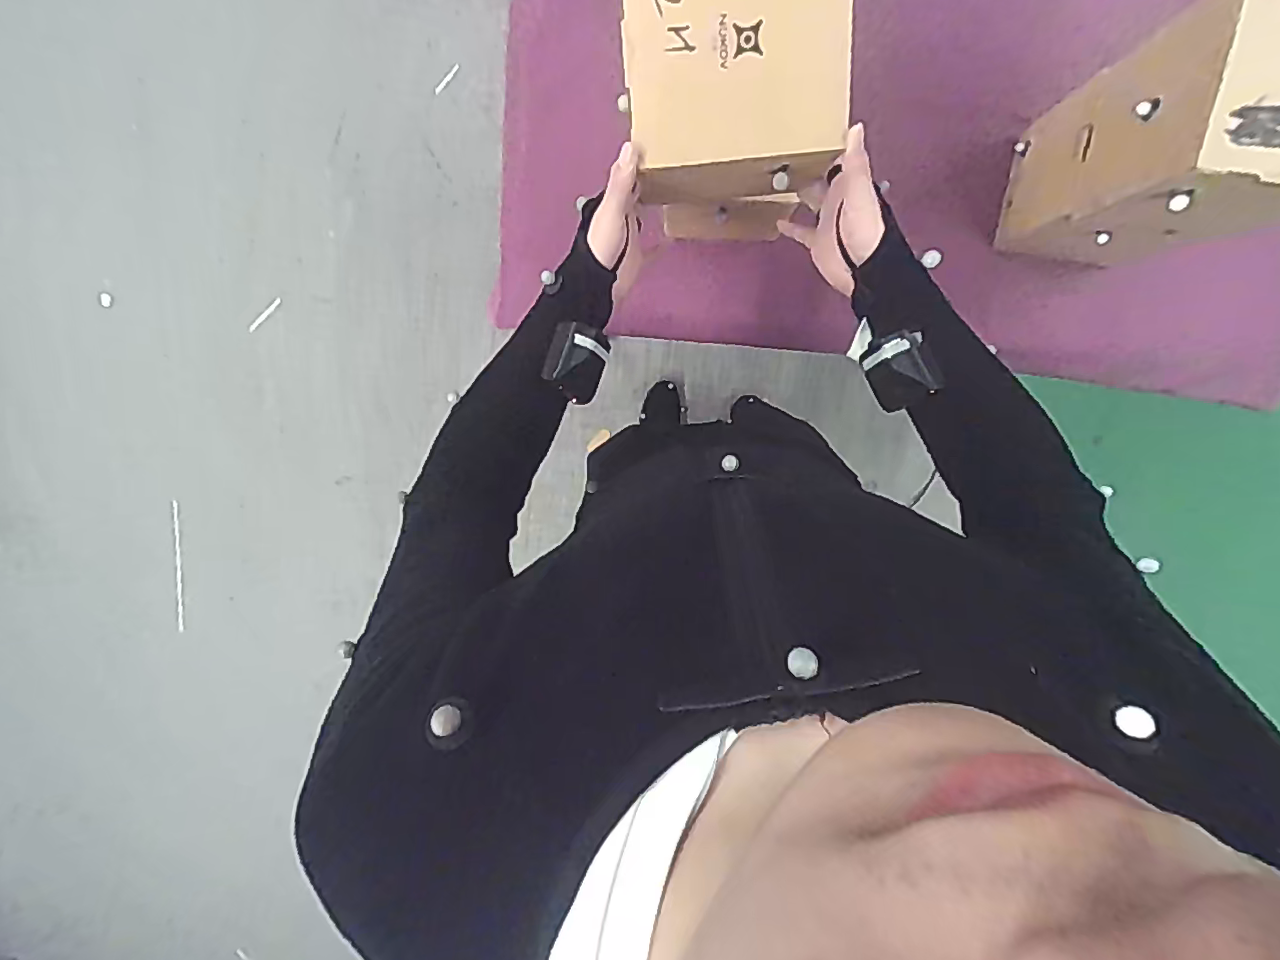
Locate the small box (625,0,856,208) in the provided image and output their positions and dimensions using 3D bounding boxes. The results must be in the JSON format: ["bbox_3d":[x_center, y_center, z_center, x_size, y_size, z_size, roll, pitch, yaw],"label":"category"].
[{"bbox_3d":[0.081,-0.358,0.494,0.179,0.176,0.168,-3,107,5],"label":"small box"}]

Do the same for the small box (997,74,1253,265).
[{"bbox_3d":[0.624,-0.399,0.725,0.179,0.176,0.168,9,99,2],"label":"small box"}]

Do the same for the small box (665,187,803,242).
[{"bbox_3d":[0.129,-0.444,0.757,0.179,0.176,0.168,4,99,4],"label":"small box"}]

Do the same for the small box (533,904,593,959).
[{"bbox_3d":[-0.259,1.572,1.808,0.179,0.176,0.168,9,99,3],"label":"small box"}]
